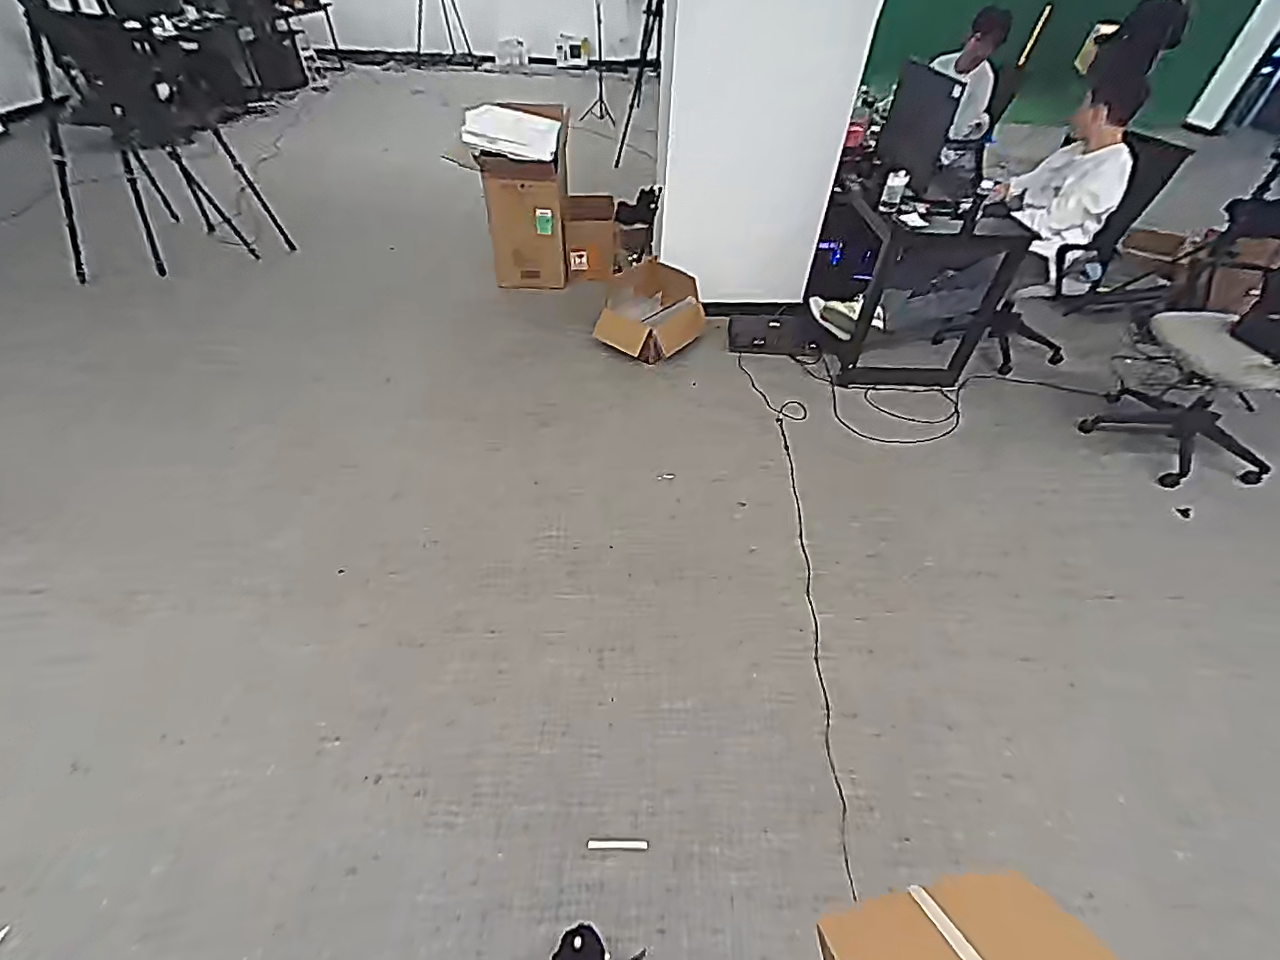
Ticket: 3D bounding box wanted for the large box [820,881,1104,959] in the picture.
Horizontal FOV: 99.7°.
[{"bbox_3d":[0.444,0.752,0.592,0.320,0.408,0.320,-10,86,-4],"label":"large box"}]
